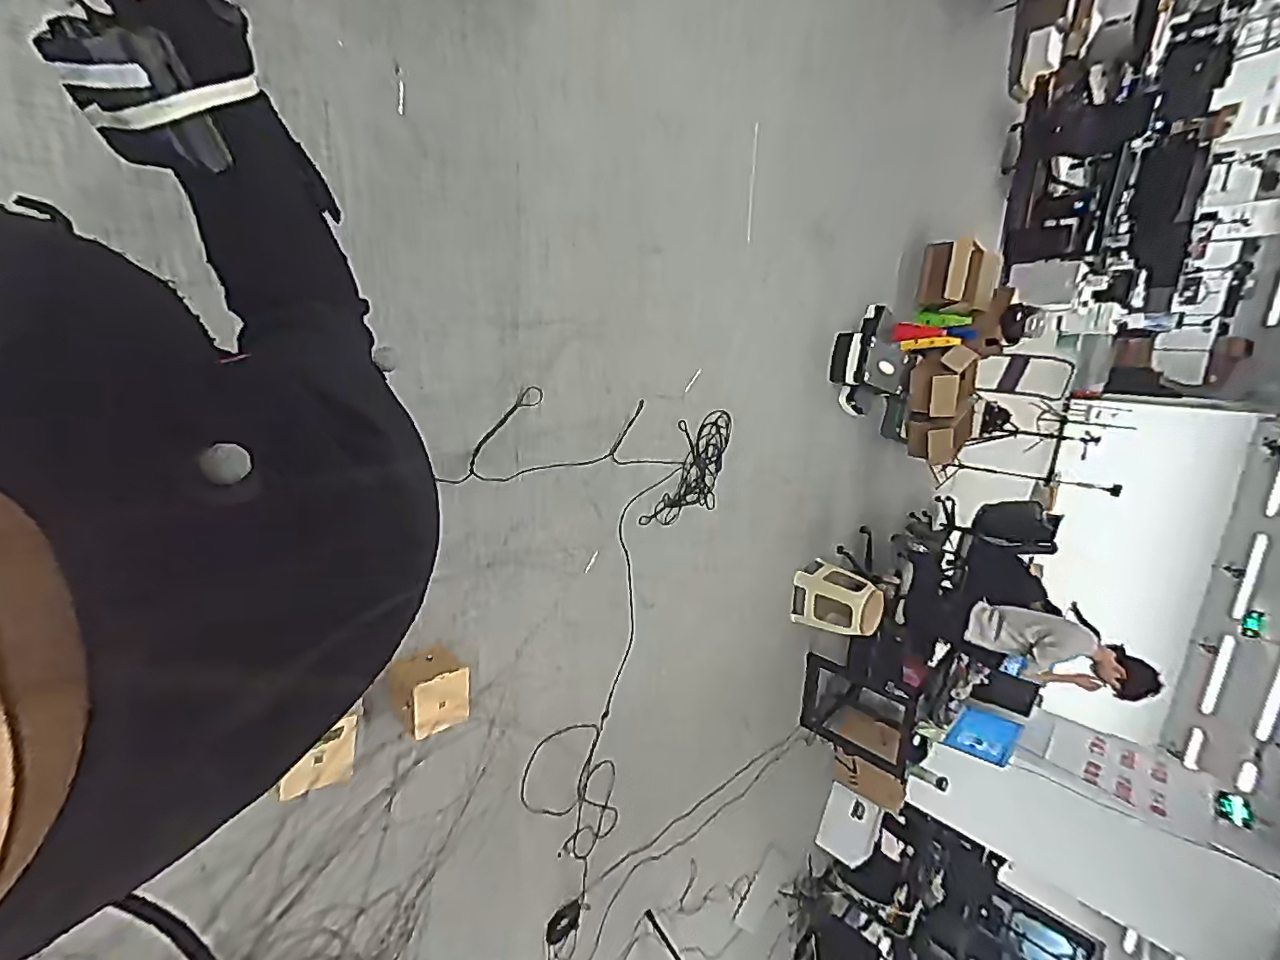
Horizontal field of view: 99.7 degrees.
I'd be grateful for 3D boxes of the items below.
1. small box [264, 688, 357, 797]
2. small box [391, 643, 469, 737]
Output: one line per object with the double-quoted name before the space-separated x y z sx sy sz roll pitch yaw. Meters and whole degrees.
"small box" -0.846 0.657 1.386 0.168 0.176 0.179 0 102 -46
"small box" -0.626 0.616 1.607 0.168 0.176 0.179 -9 107 -45
